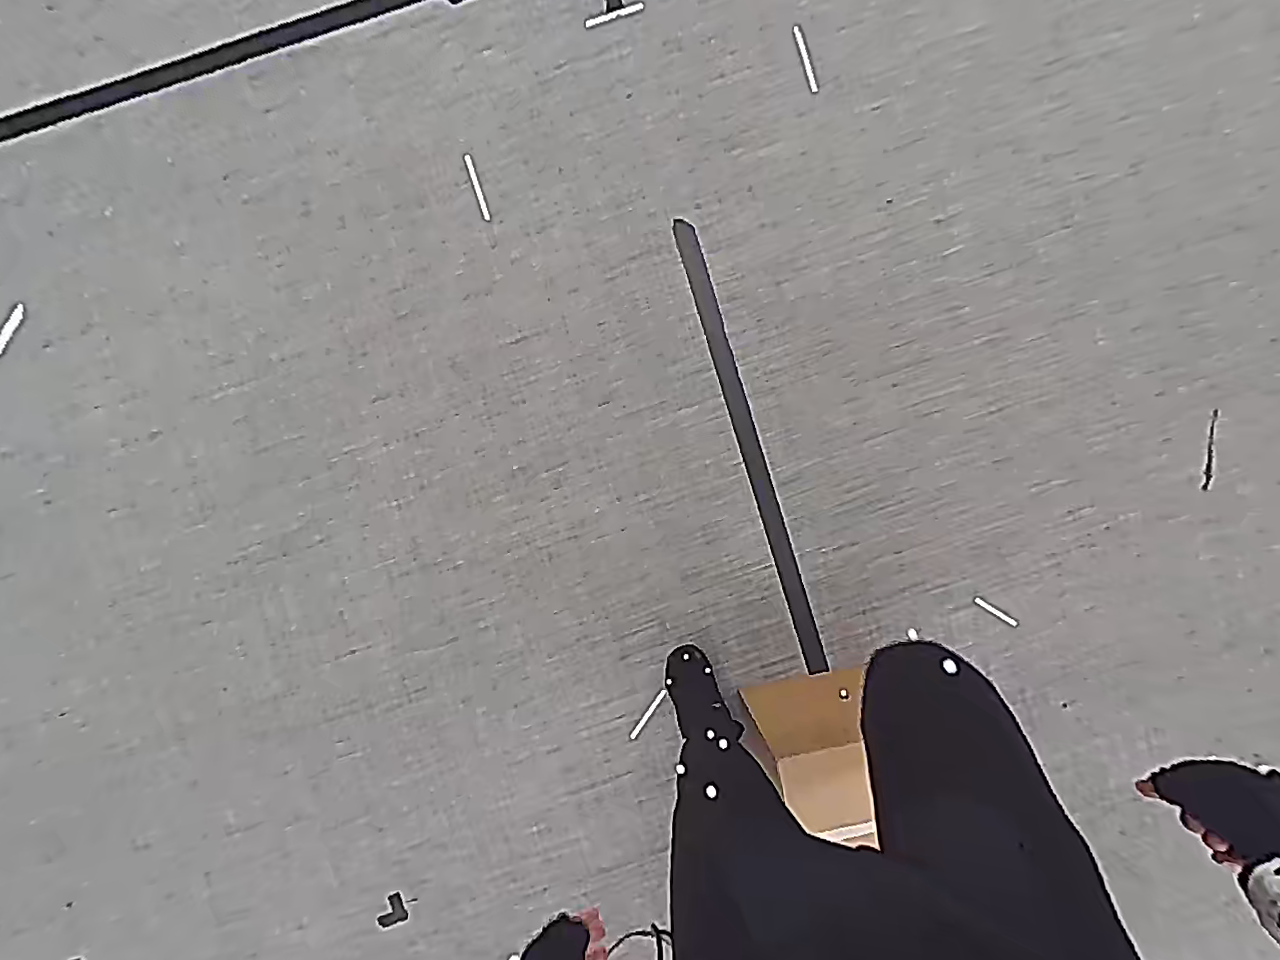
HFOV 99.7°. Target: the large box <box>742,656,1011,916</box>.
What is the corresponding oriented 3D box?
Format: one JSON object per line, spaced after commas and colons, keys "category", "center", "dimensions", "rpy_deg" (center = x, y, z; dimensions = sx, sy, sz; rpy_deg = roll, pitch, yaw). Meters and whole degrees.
{"category": "large box", "center": [0.468, 0.610, 1.144], "dimensions": [0.408, 0.320, 0.320], "rpy_deg": [-11, 92, -2]}
